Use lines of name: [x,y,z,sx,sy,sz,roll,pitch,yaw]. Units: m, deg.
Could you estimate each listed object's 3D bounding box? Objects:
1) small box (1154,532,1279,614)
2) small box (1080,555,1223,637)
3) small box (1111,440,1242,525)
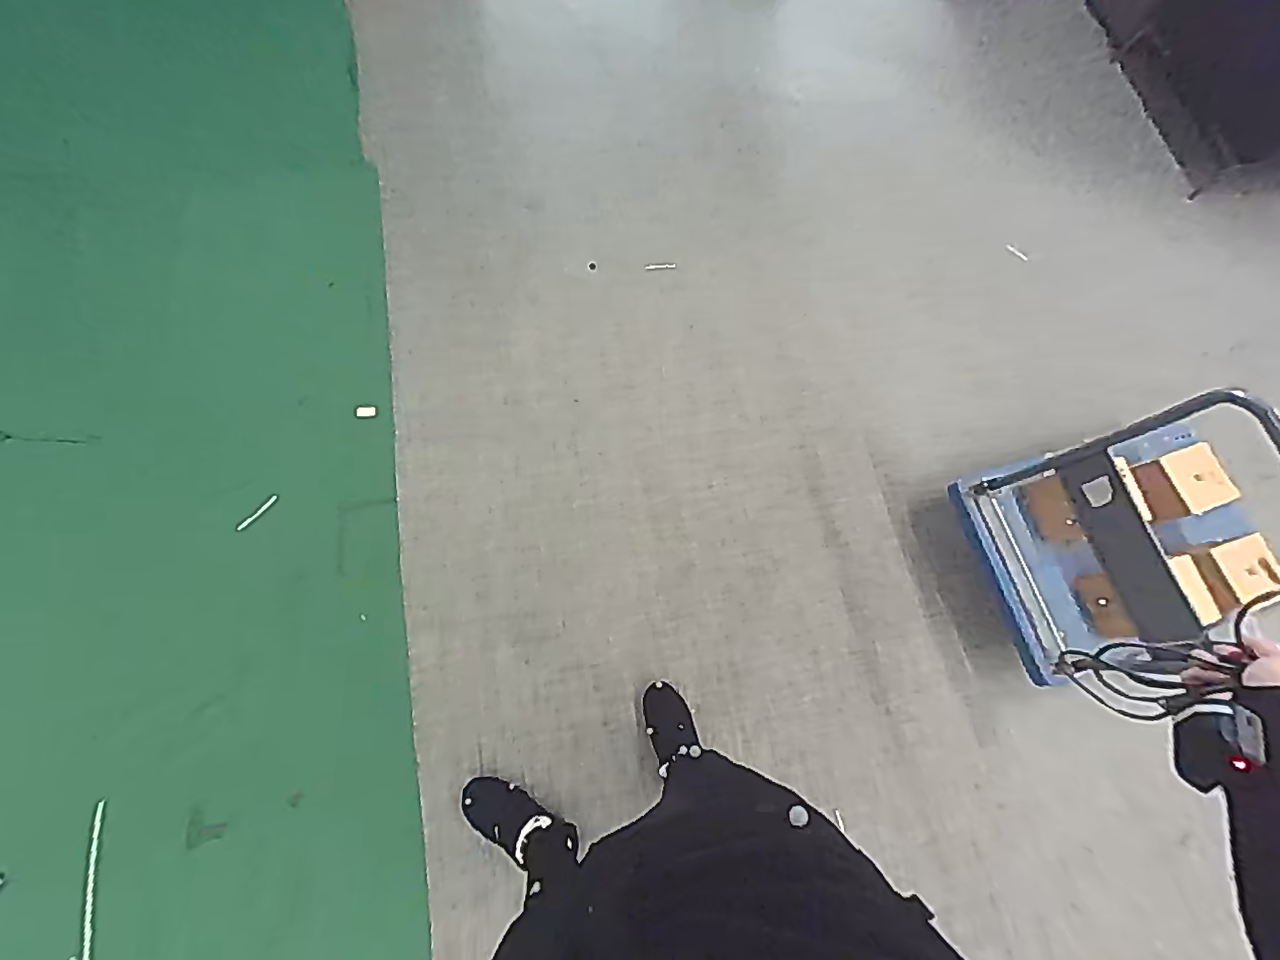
small box: [1.528,0.250,1.425,0.179,0.176,0.168,-14,74,-11]
small box: [1.293,0.299,1.380,0.179,0.176,0.168,-11,74,-10]
small box: [1.462,0.013,1.494,0.179,0.176,0.168,-16,76,-12]
